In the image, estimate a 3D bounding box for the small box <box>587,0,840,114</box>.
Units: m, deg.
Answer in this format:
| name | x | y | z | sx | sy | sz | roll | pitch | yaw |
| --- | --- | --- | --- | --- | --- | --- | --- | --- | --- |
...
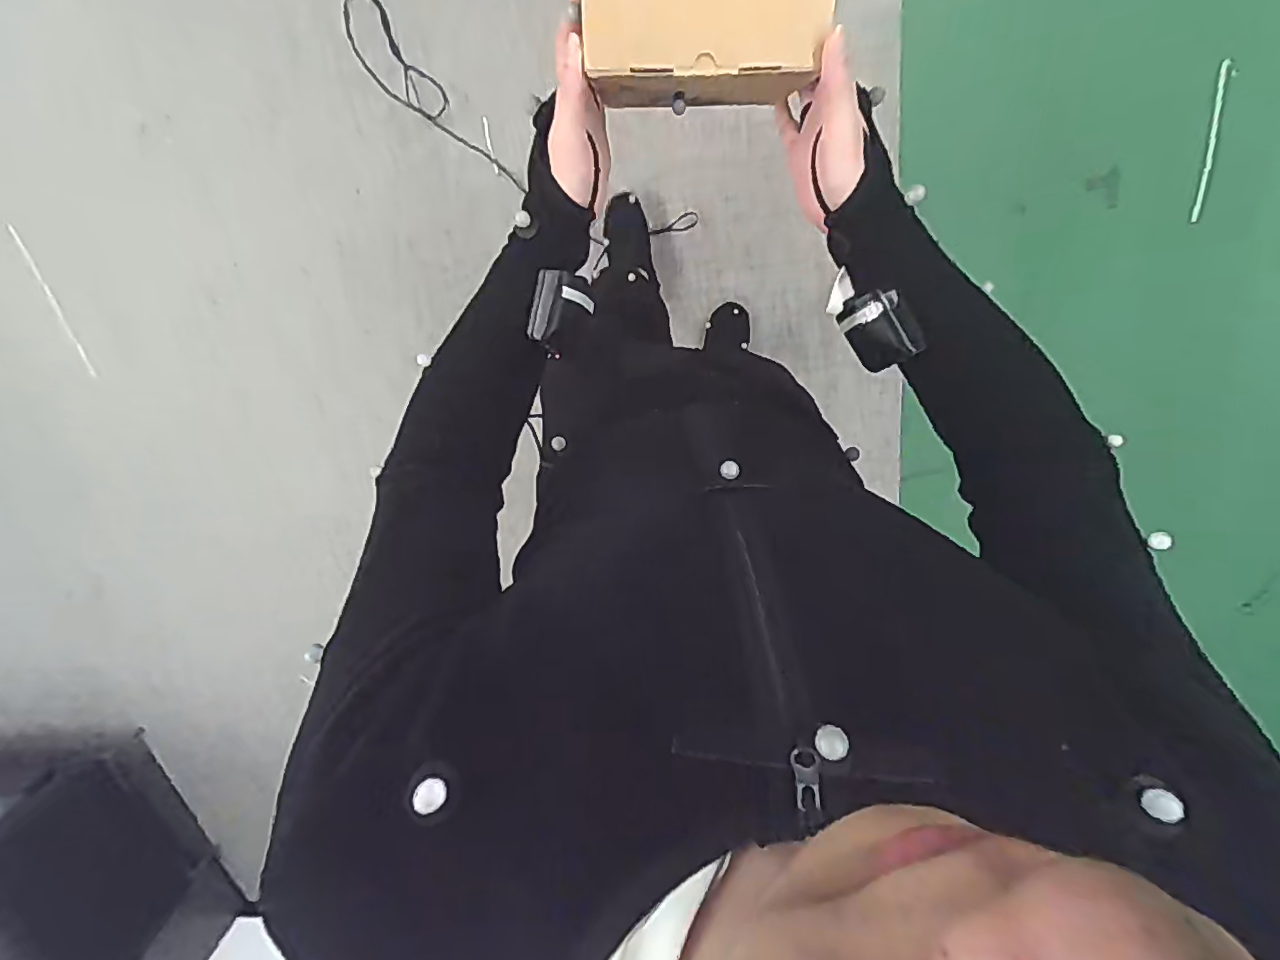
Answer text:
| name | x | y | z | sx | sy | sz | roll | pitch | yaw |
| --- | --- | --- | --- | --- | --- | --- | --- | --- | --- |
| small box | 0.045 | -0.381 | 0.396 | 0.168 | 0.176 | 0.179 | -1 | 121 | 0 |
